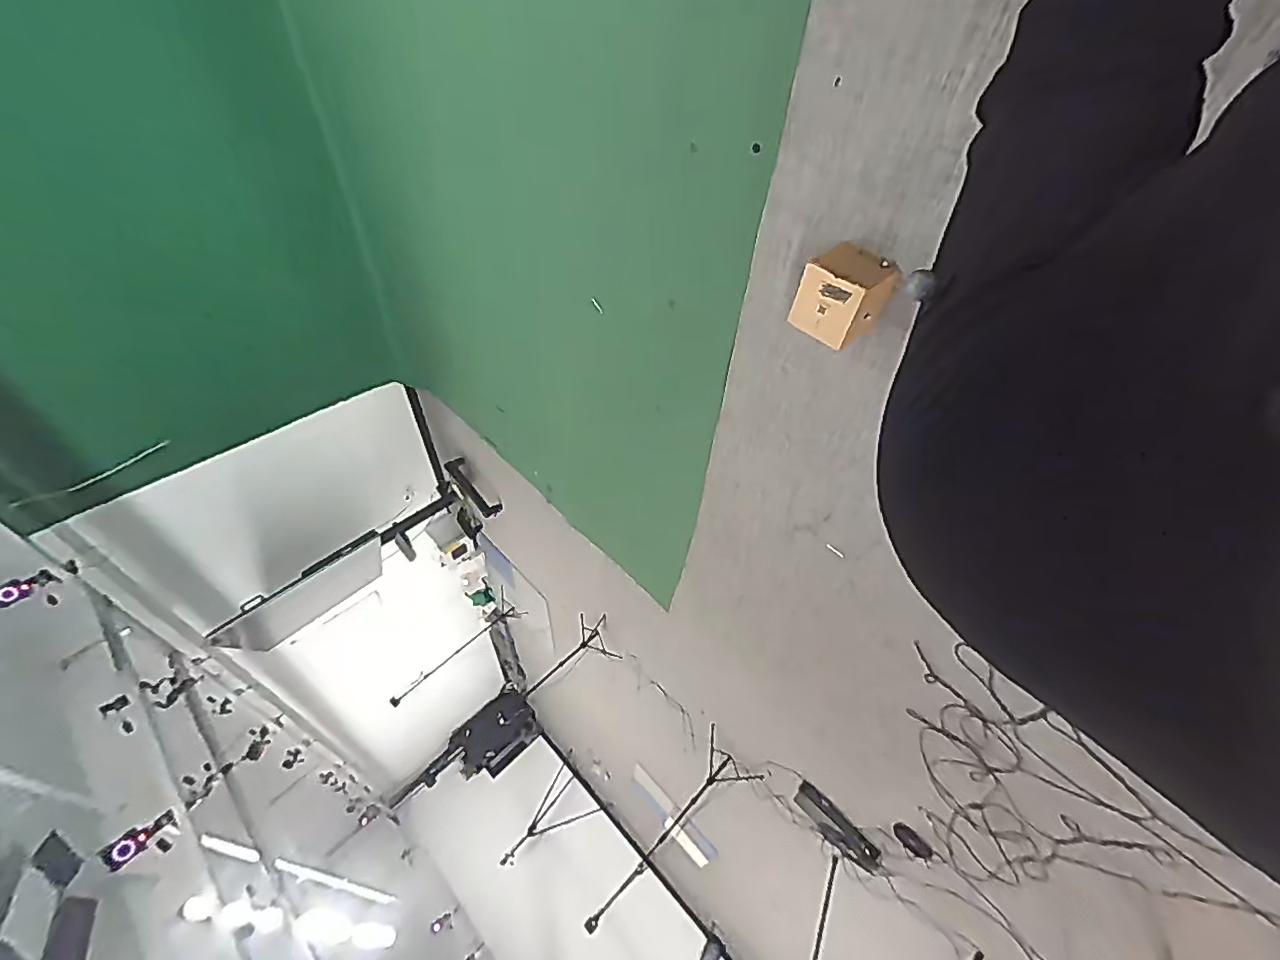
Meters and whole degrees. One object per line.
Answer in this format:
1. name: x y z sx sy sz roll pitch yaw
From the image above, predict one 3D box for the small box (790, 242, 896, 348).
1. small box: 0.517 -0.474 1.373 0.168 0.176 0.179 41 148 24
